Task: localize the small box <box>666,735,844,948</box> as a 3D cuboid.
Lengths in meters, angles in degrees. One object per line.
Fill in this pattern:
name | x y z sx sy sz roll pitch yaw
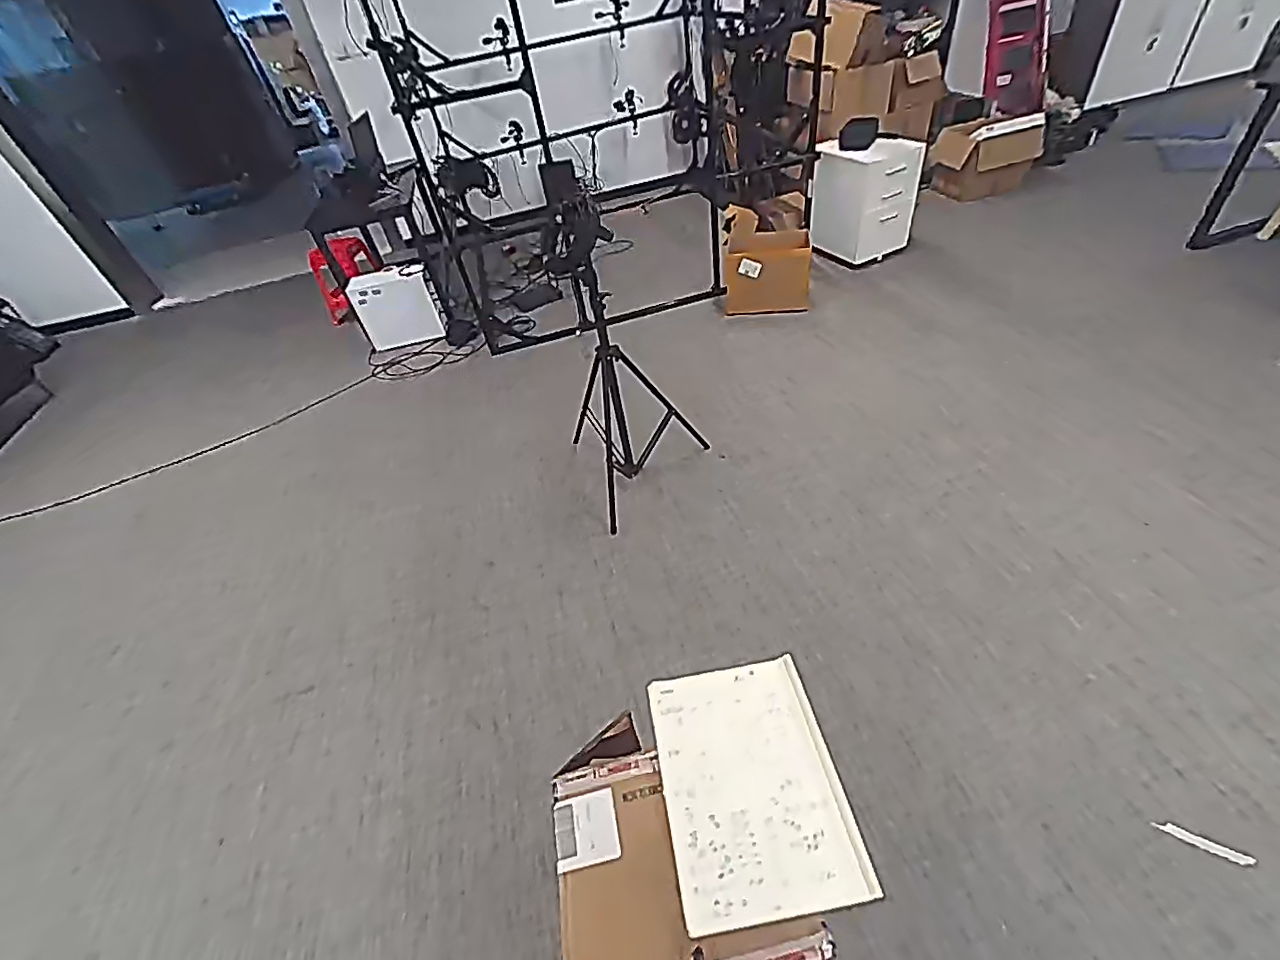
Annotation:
small box | 0.128 0.450 0.675 0.168 0.176 0.179 -9 45 -3
